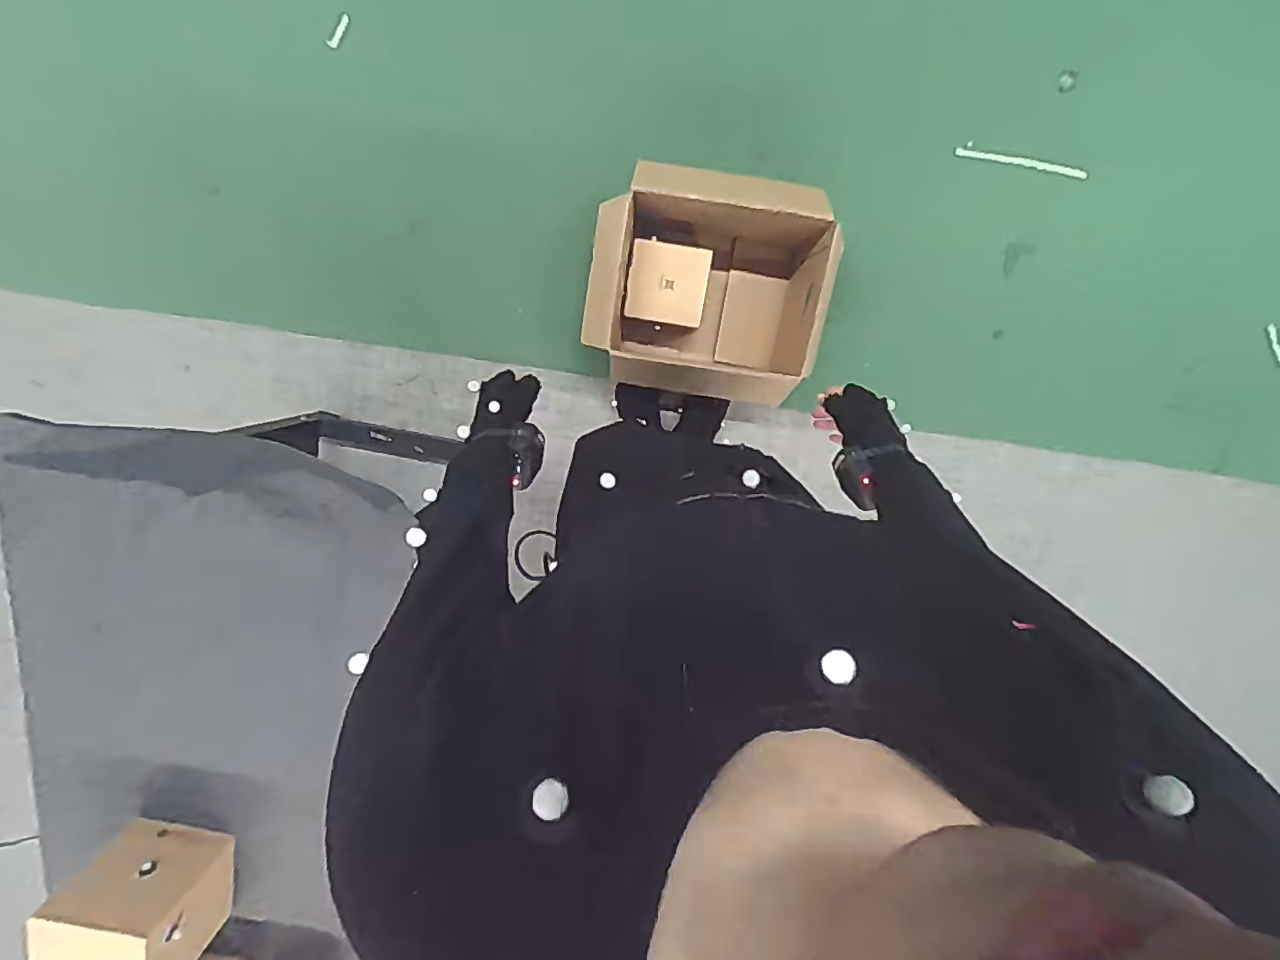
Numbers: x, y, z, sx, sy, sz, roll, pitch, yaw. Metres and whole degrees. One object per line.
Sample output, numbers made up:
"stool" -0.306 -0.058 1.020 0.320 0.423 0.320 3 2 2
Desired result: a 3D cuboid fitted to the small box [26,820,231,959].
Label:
"small box" -0.778 0.674 0.840 0.168 0.176 0.179 13 104 -1
